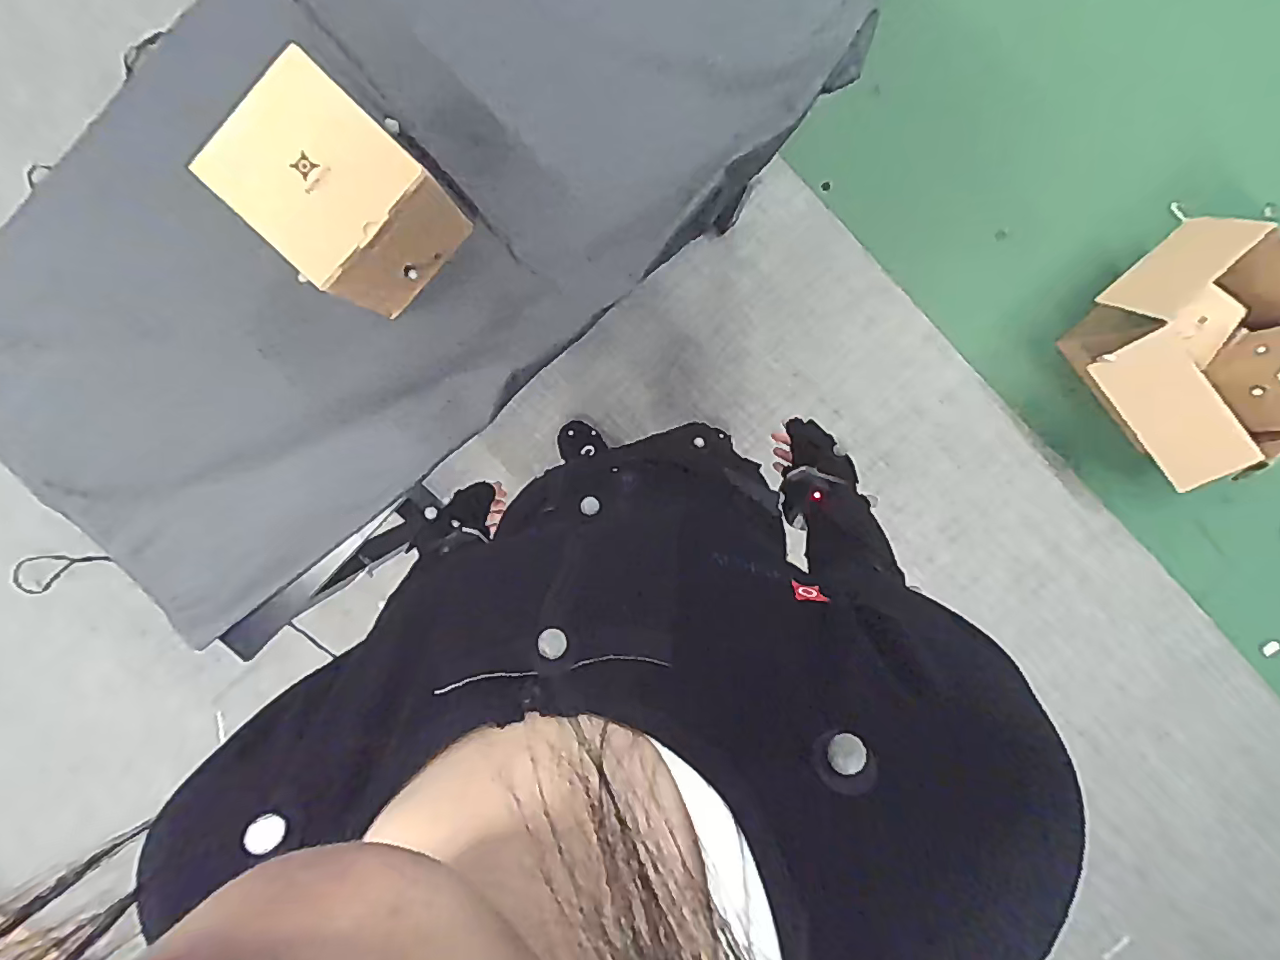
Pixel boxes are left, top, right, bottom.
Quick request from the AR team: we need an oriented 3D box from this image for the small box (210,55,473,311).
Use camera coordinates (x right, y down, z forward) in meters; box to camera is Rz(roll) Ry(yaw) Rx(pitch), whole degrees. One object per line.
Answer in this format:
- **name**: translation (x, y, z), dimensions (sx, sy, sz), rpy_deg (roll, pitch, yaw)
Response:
- **small box**: translation (-0.333, -0.328, 0.642), dimensions (0.179, 0.176, 0.168), rpy_deg (43, 94, -6)
